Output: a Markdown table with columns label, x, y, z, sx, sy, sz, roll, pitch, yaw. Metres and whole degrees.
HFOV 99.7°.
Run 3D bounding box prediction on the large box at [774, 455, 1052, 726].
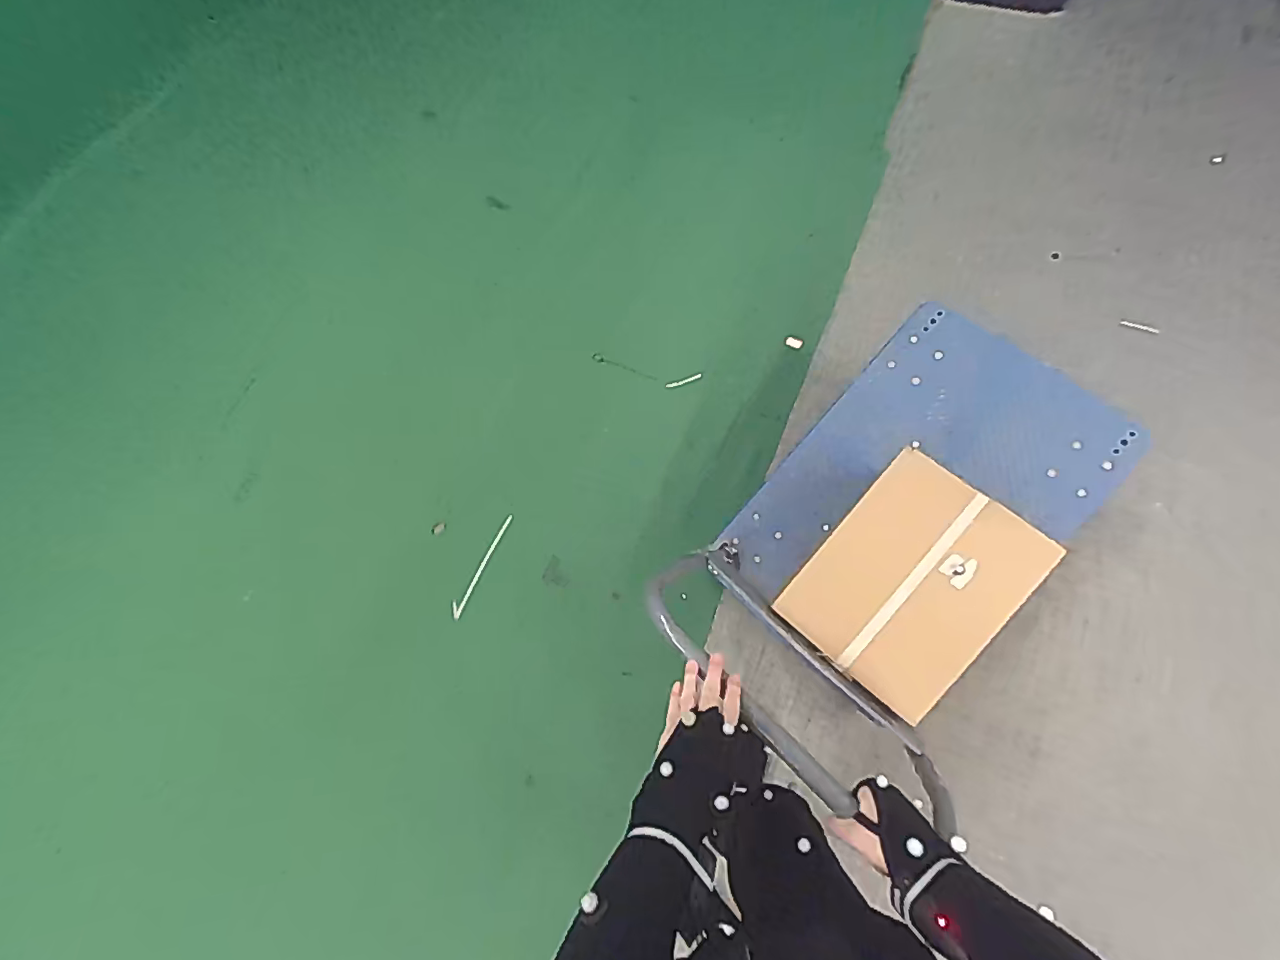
| label | x | y | z | sx | sy | sz | roll | pitch | yaw |
| --- | --- | --- | --- | --- | --- | --- | --- | --- | --- |
| large box | 0.528 | 0.222 | 1.139 | 0.320 | 0.320 | 0.408 | 41 | 92 | 17 |
